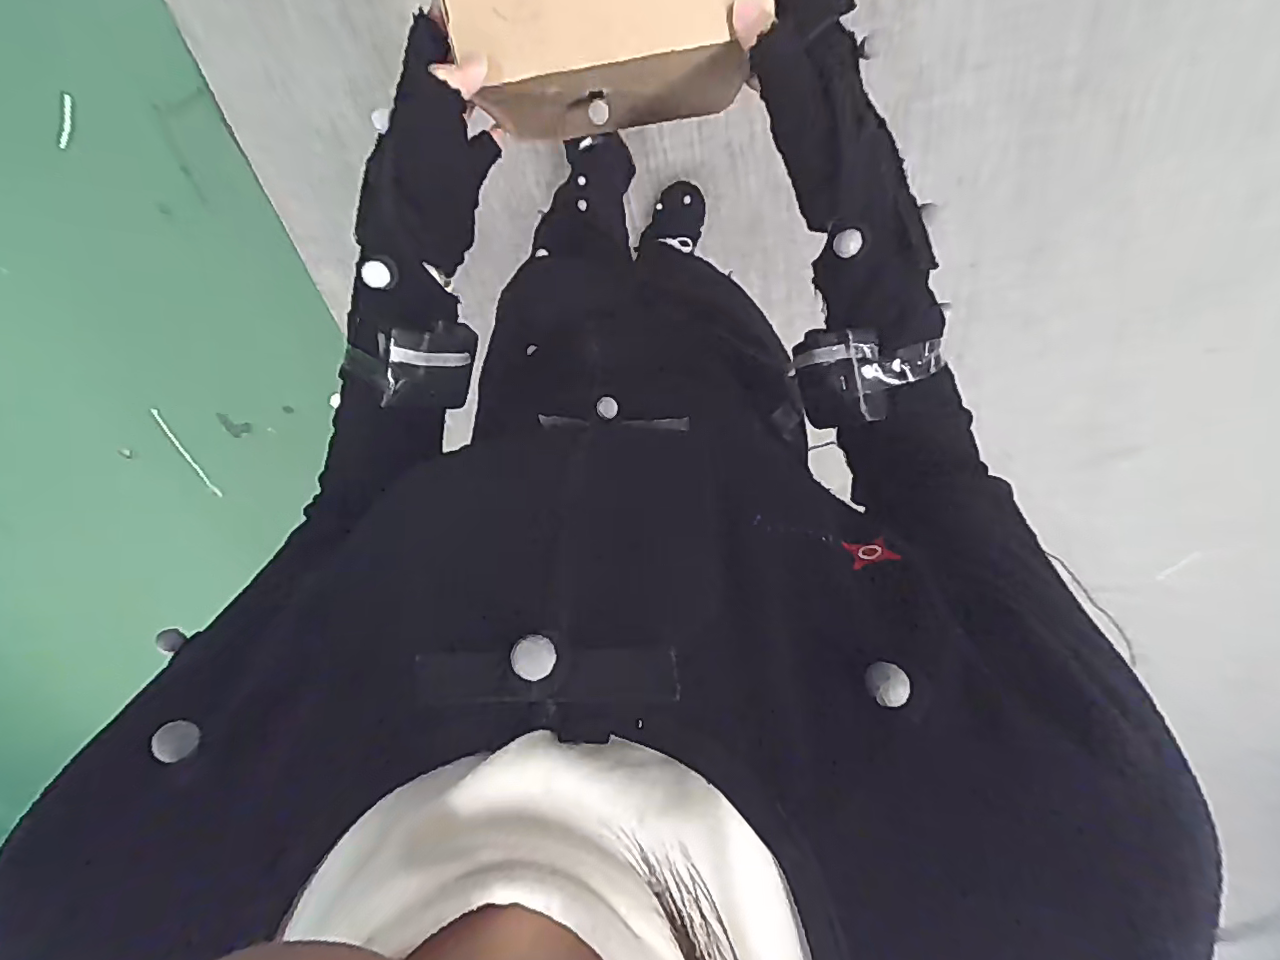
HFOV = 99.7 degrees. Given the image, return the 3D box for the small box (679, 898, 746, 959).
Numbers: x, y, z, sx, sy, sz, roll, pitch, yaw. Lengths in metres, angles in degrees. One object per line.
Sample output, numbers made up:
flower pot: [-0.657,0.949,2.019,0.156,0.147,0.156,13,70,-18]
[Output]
small box: [0.201,1.279,1.491,0.168,0.176,0.179,-9,125,9]

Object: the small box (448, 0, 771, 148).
small box: [-0.026,-0.339,0.349,0.179,0.176,0.168,-10,109,4]
